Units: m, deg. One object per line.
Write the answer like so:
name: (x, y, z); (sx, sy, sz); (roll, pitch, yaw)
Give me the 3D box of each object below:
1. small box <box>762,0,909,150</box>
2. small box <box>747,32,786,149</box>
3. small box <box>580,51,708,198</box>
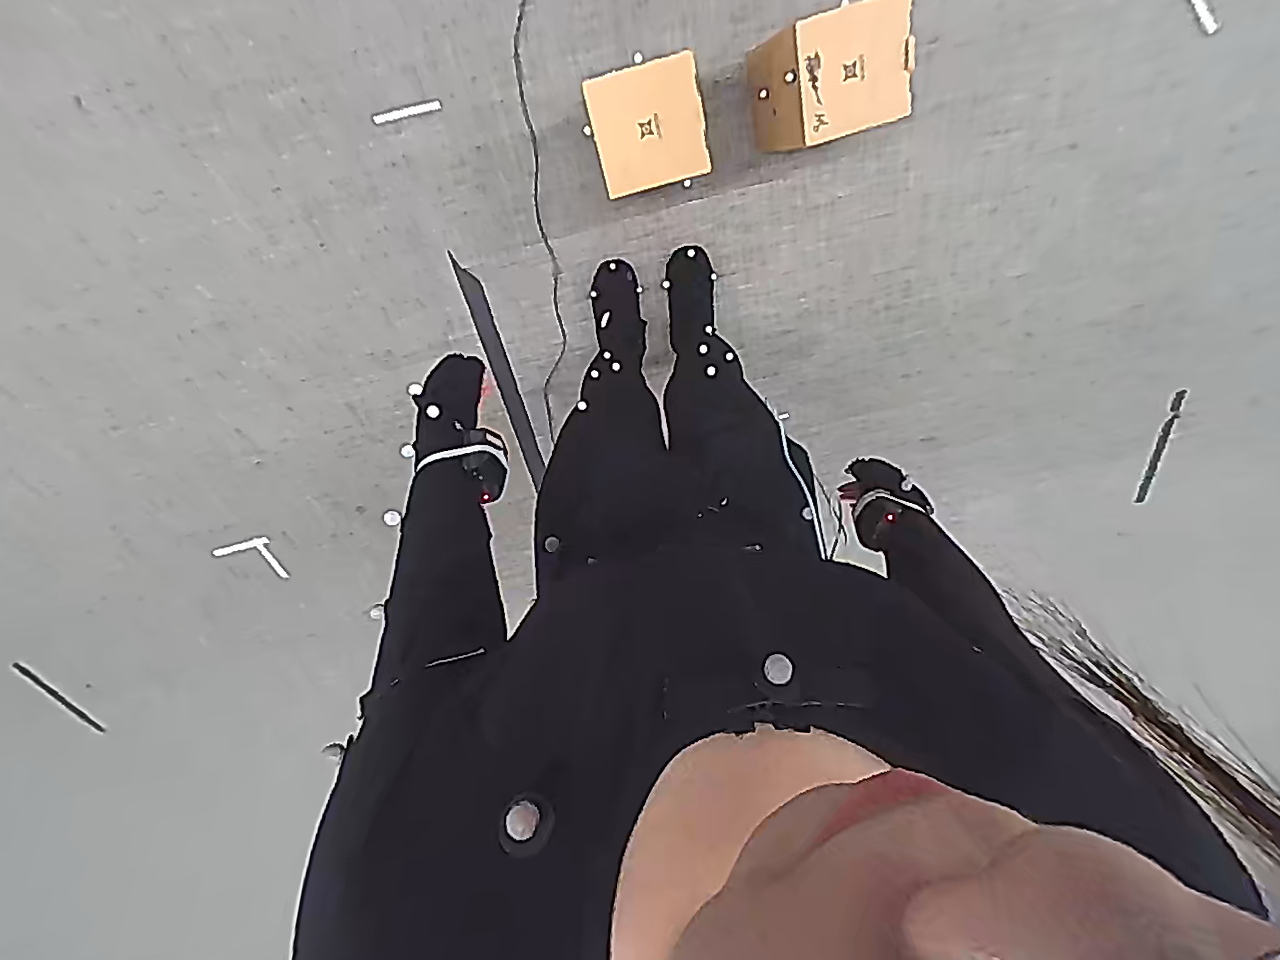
small box: (0.320, -0.668, 0.901); (0.179, 0.176, 0.168); (-15, 122, 3)
small box: (0.313, -0.755, 1.041); (0.168, 0.176, 0.179); (-14, 122, 4)
small box: (0.006, -0.595, 0.920); (0.179, 0.176, 0.168); (-14, 122, 4)
